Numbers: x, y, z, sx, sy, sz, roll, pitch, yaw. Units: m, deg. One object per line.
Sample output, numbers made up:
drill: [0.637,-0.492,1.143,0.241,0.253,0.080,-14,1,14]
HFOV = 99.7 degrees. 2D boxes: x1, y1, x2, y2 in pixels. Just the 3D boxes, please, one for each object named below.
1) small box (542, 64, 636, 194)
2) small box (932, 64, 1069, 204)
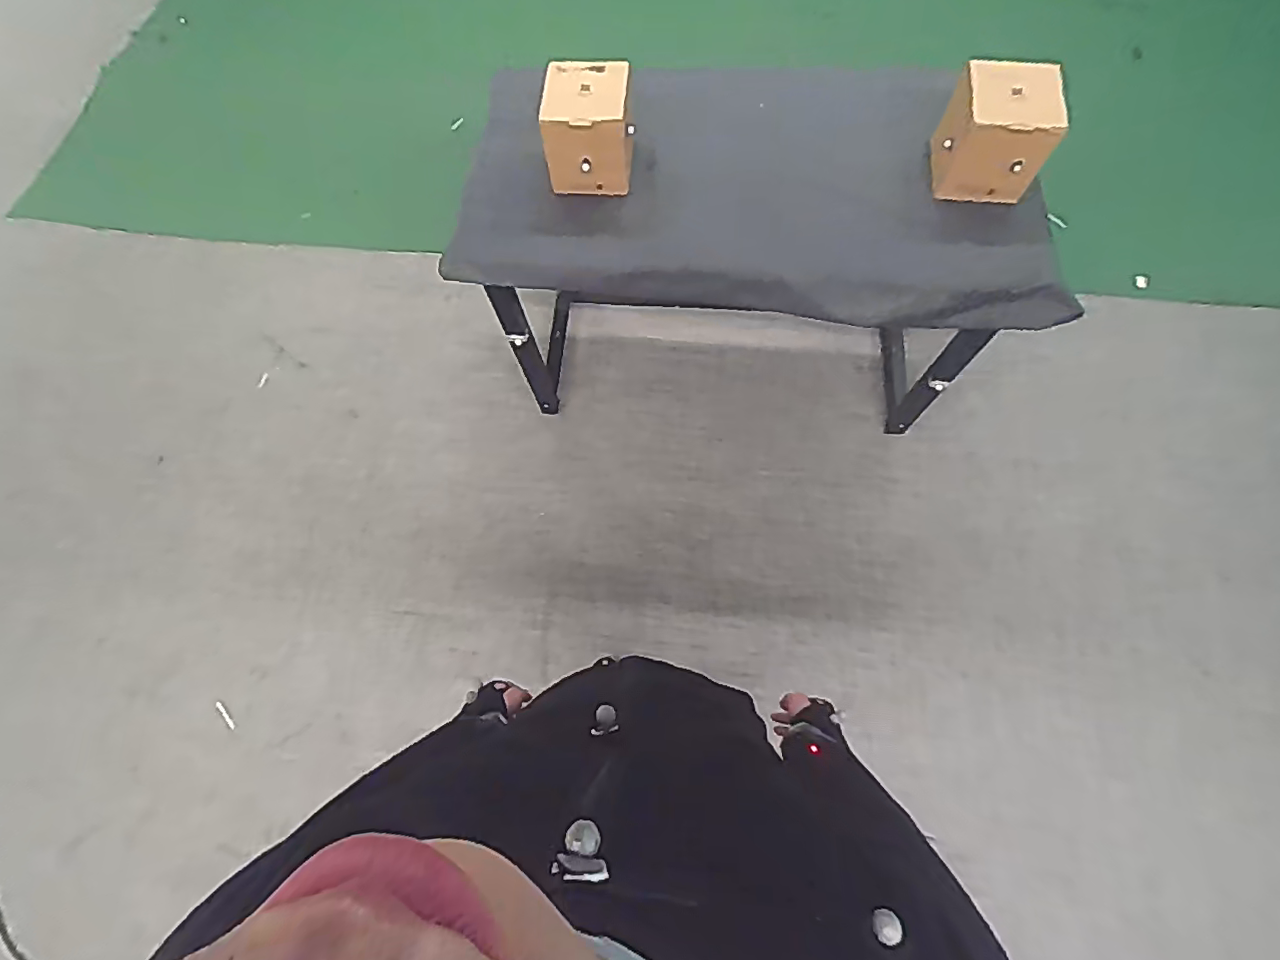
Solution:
small box: [-0.099,-0.732,1.139,0.168,0.176,0.179,3,70,3]
small box: [0.706,-0.684,1.080,0.168,0.176,0.179,8,69,5]
